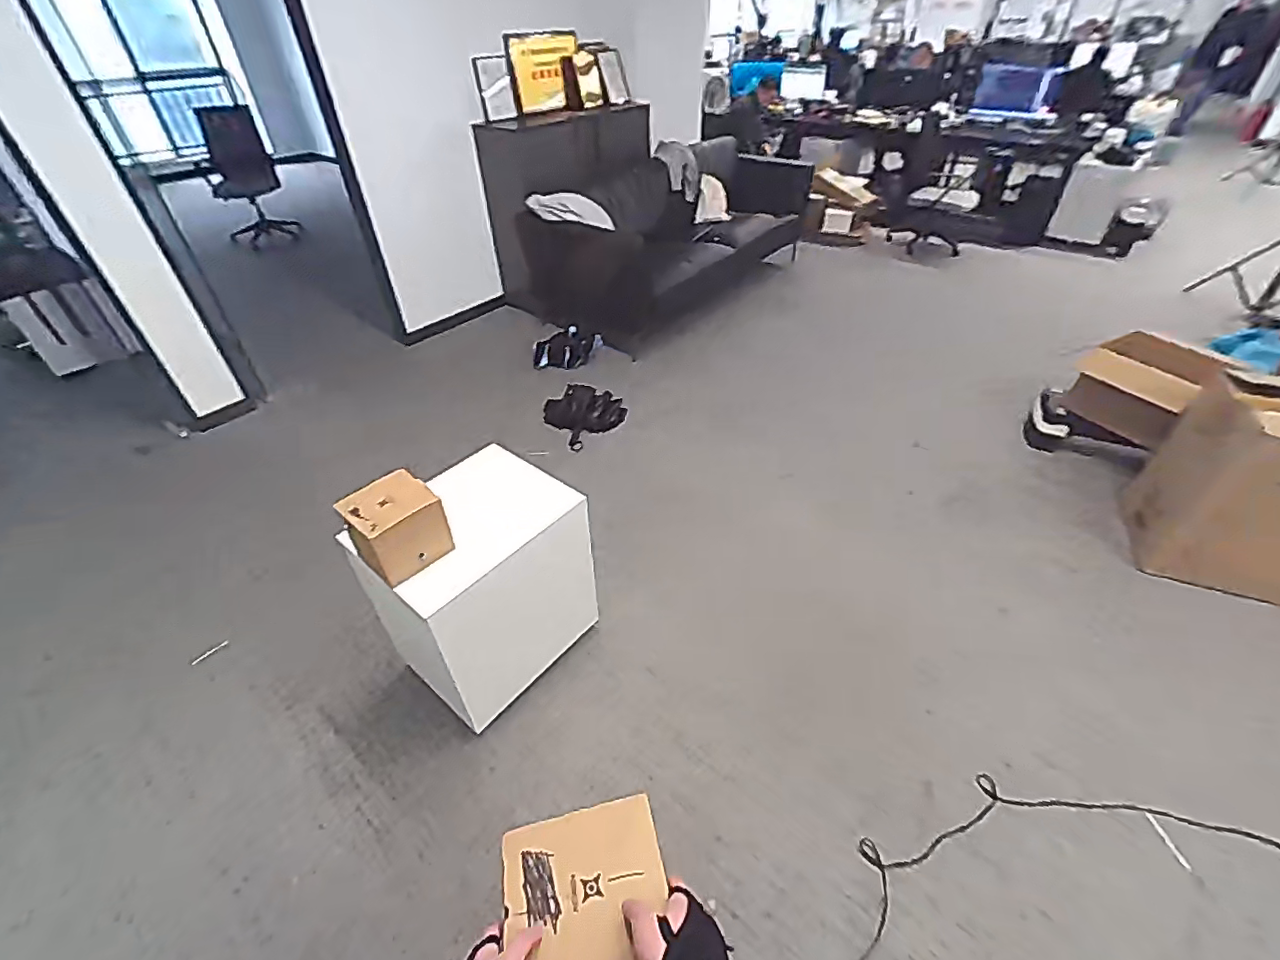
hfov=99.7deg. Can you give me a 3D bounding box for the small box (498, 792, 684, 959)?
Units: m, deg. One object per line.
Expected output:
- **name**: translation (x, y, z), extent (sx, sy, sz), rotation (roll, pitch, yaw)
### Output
- **small box**: translation (-0.050, 0.494, 0.602), extent (0.179, 0.176, 0.168), rotation (-11, 30, -7)

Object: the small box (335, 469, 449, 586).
- **small box**: translation (-0.570, 0.110, 1.268), extent (0.168, 0.176, 0.179), rotation (29, 47, 30)
